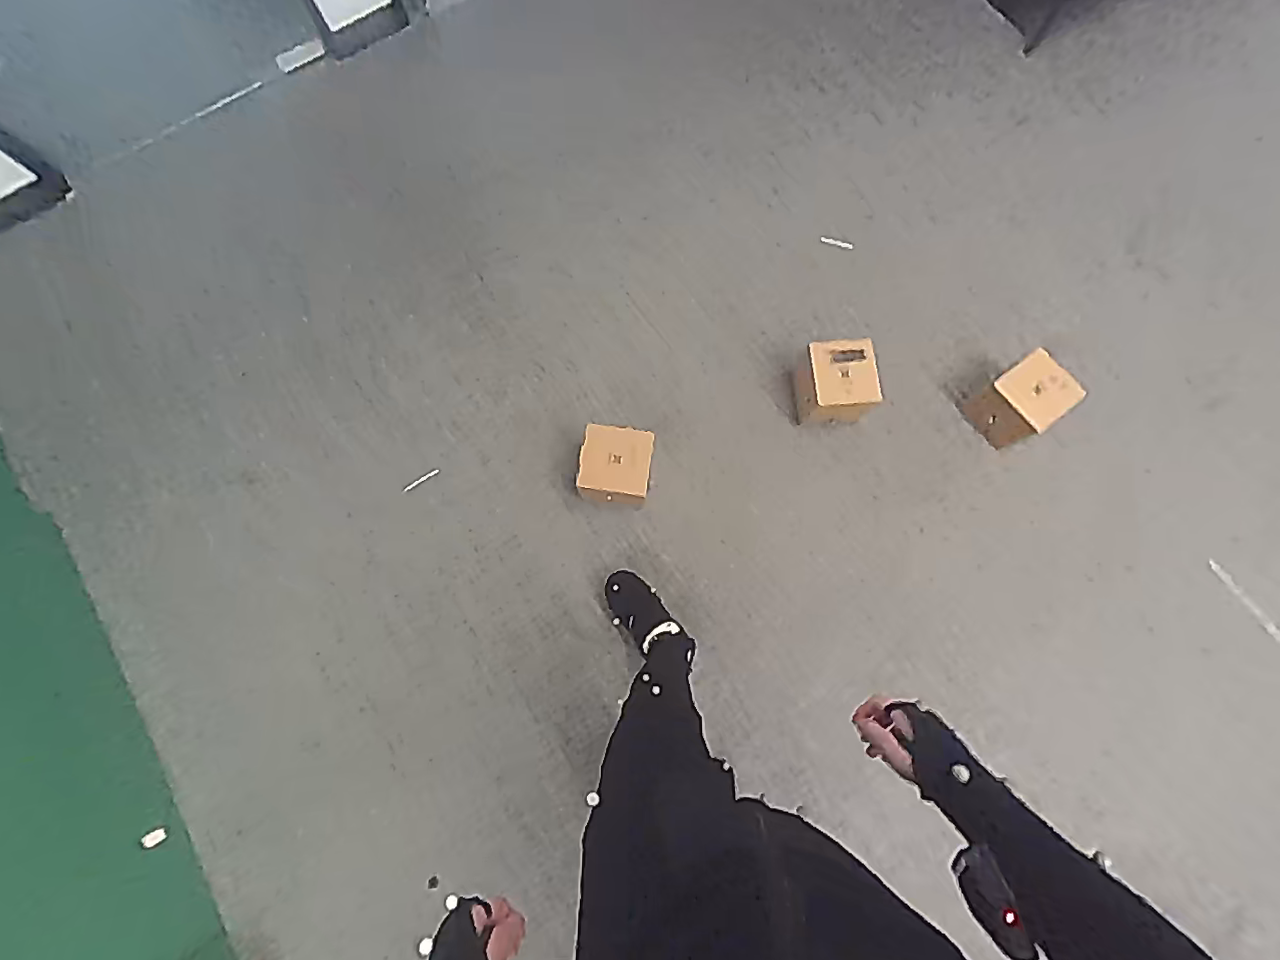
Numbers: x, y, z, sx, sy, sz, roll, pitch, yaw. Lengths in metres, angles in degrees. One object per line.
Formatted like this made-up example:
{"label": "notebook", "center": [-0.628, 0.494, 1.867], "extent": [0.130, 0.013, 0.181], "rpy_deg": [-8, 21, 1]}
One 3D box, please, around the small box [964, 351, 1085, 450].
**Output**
{"label": "small box", "center": [1.013, -0.204, 1.449], "extent": [0.179, 0.176, 0.168], "rpy_deg": [-36, 80, -8]}
